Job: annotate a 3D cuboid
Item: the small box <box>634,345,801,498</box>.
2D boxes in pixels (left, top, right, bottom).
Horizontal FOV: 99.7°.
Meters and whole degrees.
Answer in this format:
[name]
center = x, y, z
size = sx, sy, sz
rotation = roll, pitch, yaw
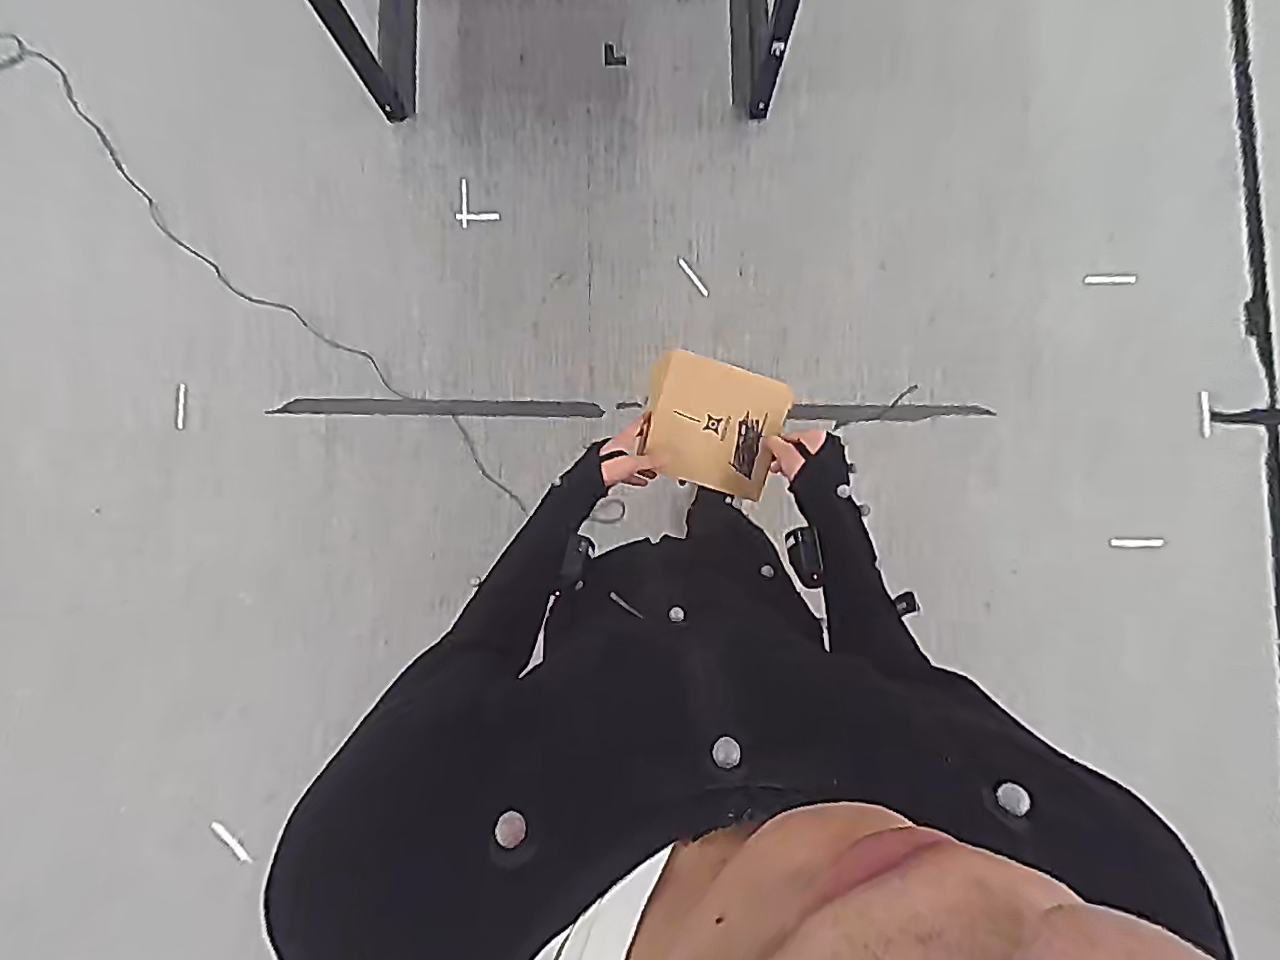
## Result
[small box]
center = 0.101, -0.088, 0.793
size = 0.179, 0.176, 0.168
rotation = 17, 97, -8
